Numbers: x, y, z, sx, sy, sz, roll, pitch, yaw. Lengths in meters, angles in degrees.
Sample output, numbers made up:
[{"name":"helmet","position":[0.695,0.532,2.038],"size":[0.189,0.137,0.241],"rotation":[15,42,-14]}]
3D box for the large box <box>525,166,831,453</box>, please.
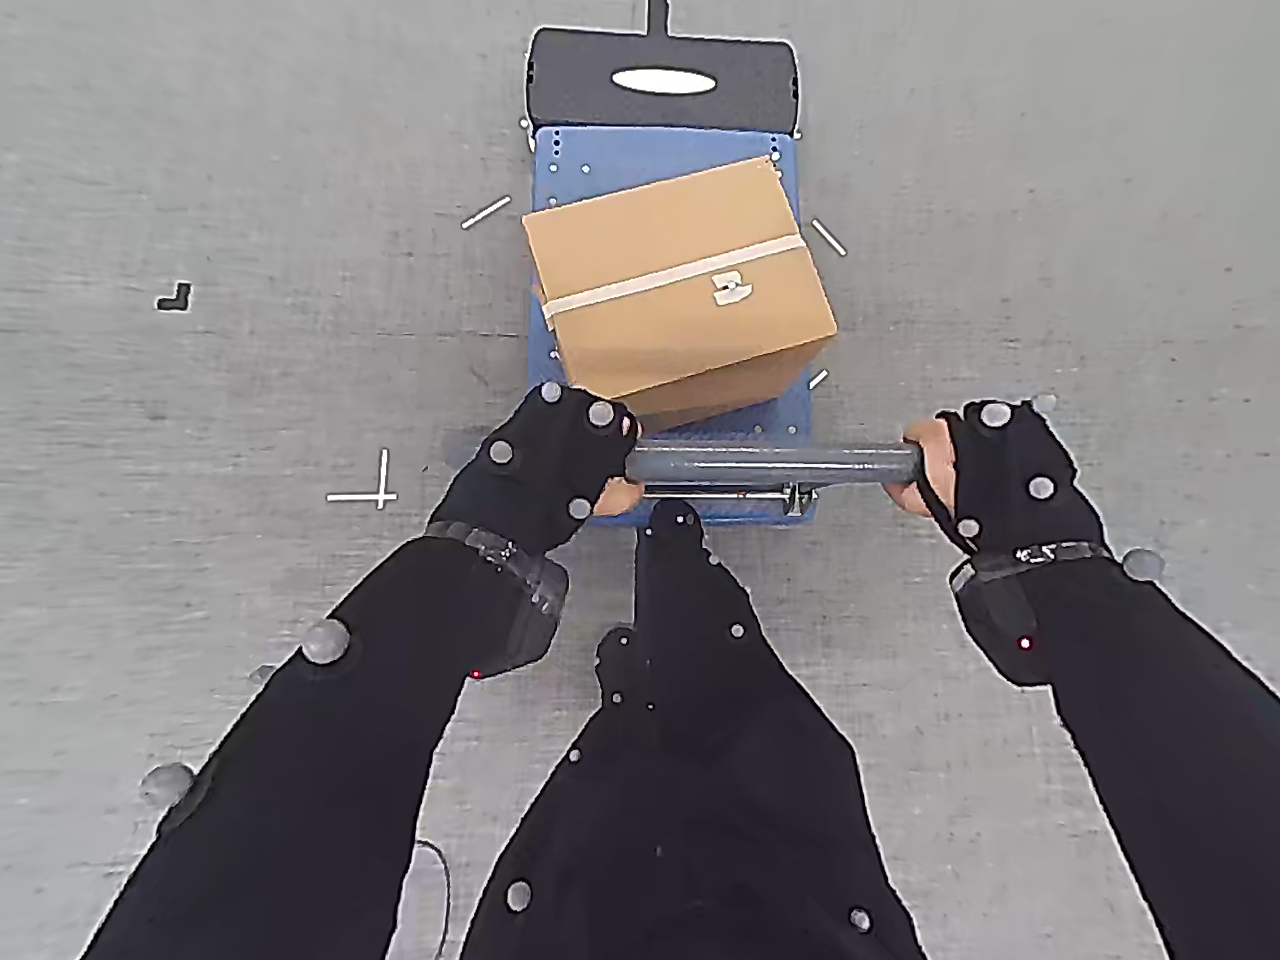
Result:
[{"name":"large box","position":[0.048,-0.276,0.965],"size":[0.408,0.320,0.320],"rotation":[-17,82,-7]}]
